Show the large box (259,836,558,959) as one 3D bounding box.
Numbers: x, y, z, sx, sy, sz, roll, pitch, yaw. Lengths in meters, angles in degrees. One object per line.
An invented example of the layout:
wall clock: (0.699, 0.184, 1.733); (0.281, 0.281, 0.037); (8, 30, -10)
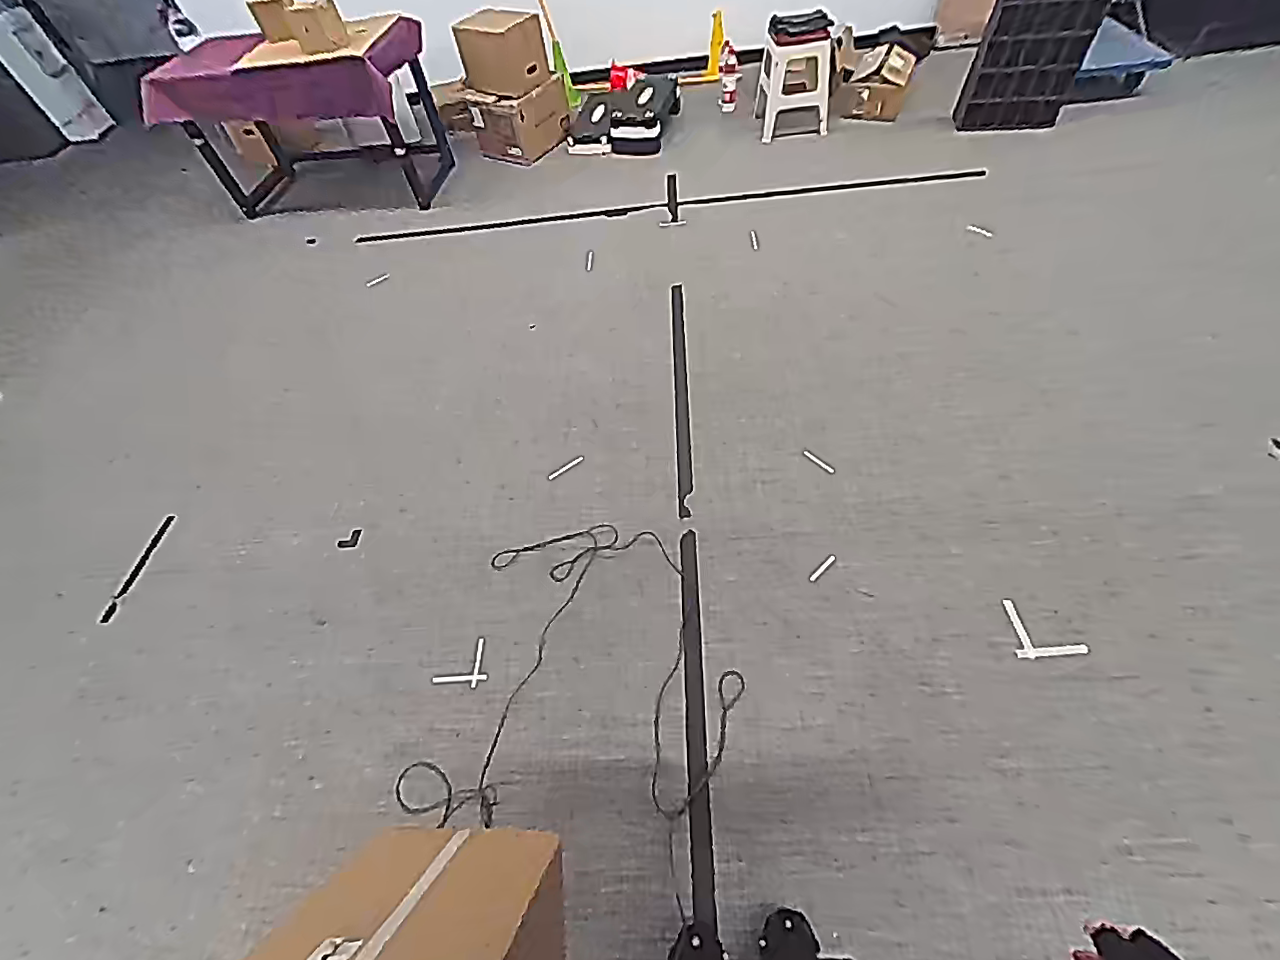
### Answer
large box: (-0.299, 0.727, 0.679); (0.320, 0.408, 0.320); (-4, 86, 8)
